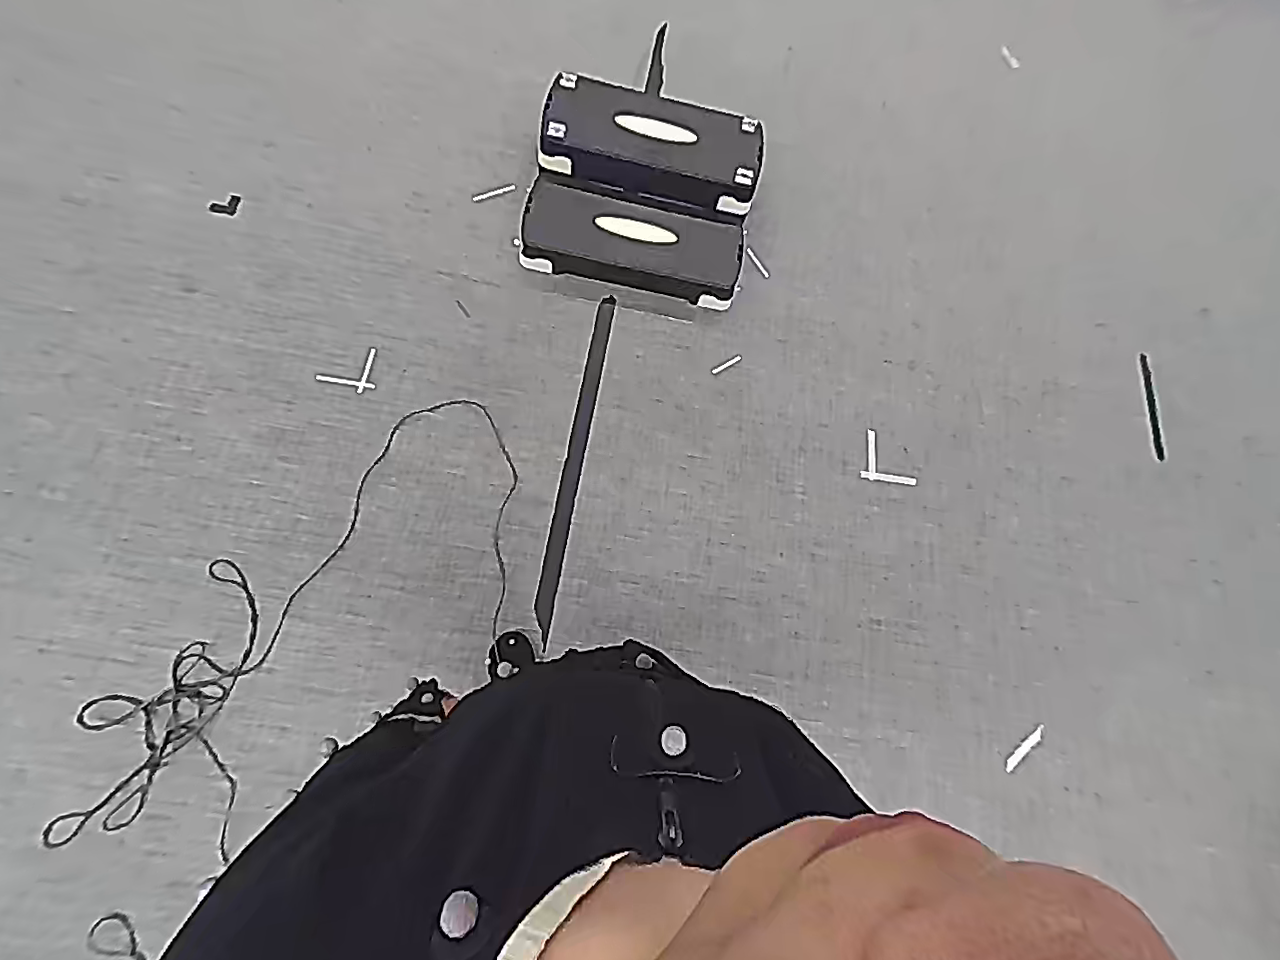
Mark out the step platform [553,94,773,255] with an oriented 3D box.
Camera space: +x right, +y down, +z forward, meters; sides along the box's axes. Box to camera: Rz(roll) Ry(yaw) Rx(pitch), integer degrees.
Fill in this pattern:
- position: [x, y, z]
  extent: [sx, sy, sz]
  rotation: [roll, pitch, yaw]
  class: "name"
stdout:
- position: [0.073, -0.970, 1.724]
  extent: [0.684, 0.204, 0.286]
  rotation: [15, 71, -3]
  class: "step platform"
